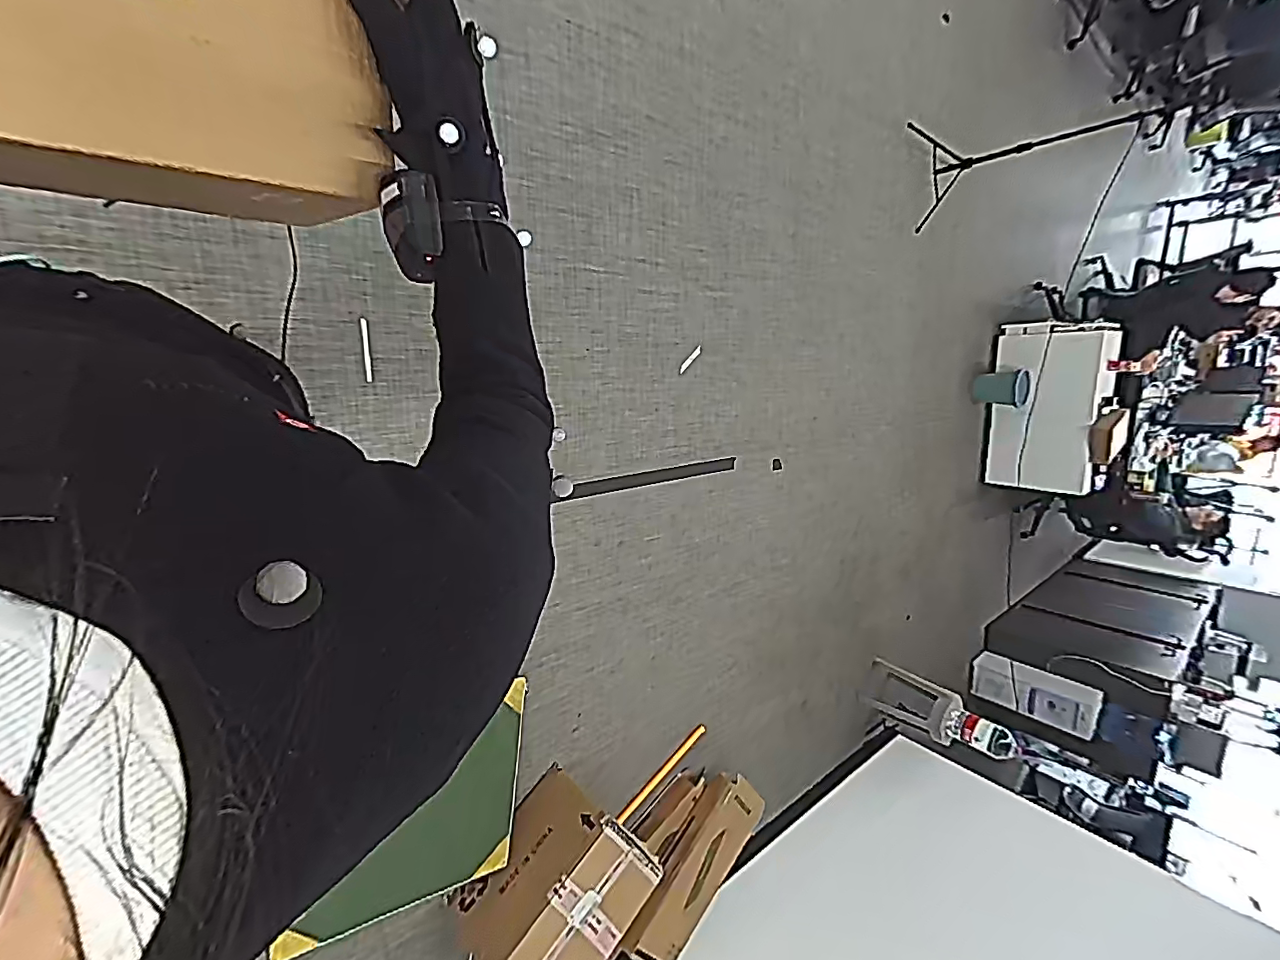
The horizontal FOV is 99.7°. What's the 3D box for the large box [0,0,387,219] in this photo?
[{"bbox_3d":[-0.438,-0.379,0.362,0.408,0.320,0.320,-11,114,-39],"label":"large box"}]
